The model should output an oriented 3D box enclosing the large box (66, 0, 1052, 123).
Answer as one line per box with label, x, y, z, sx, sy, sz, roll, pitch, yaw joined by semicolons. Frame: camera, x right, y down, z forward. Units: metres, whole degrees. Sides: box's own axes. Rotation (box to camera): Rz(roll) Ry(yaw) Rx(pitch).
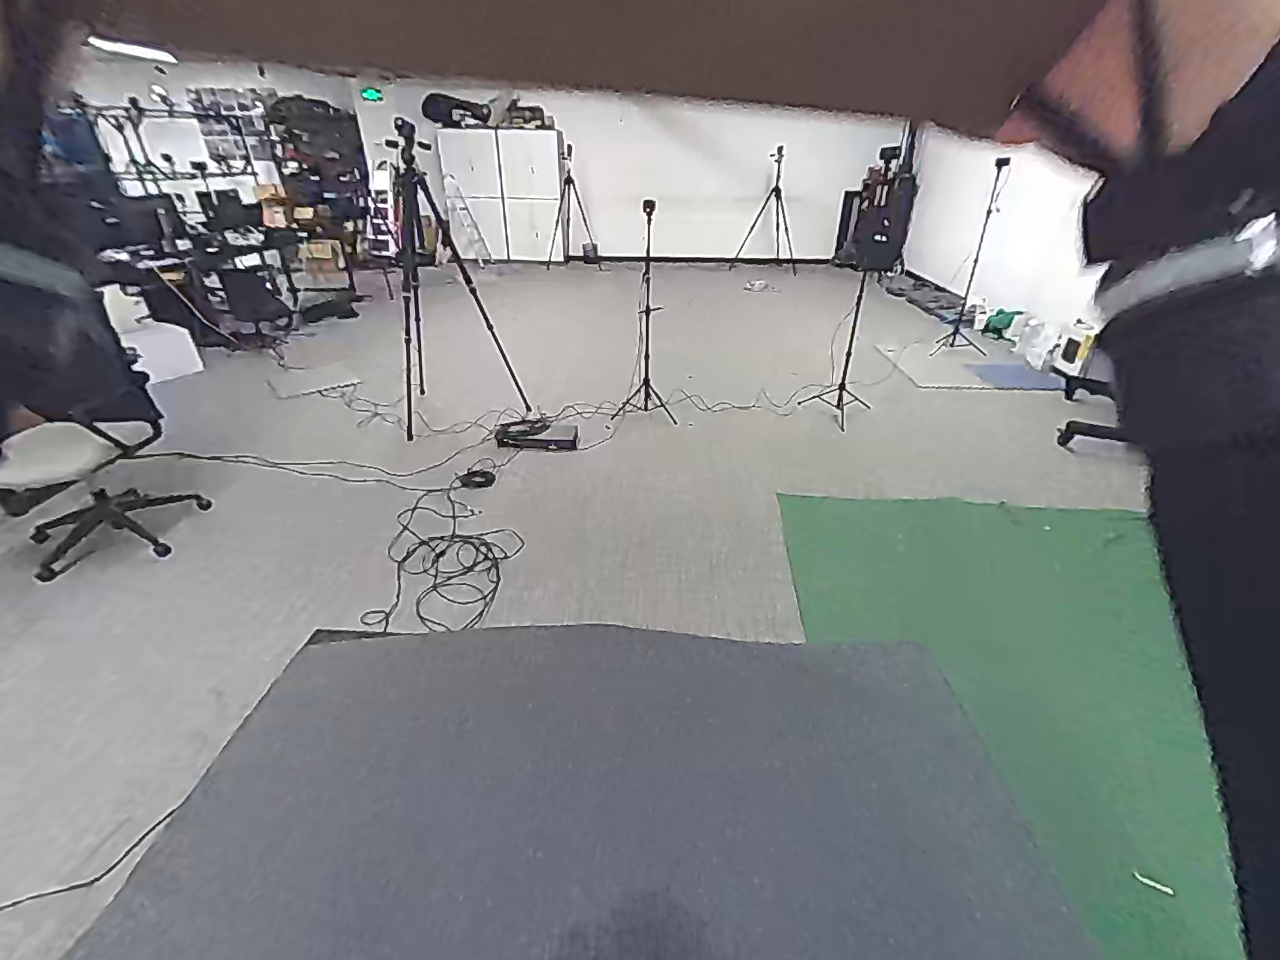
large box;-0.023;-0.367;0.162;0.408;0.320;0.320;2;71;-4
